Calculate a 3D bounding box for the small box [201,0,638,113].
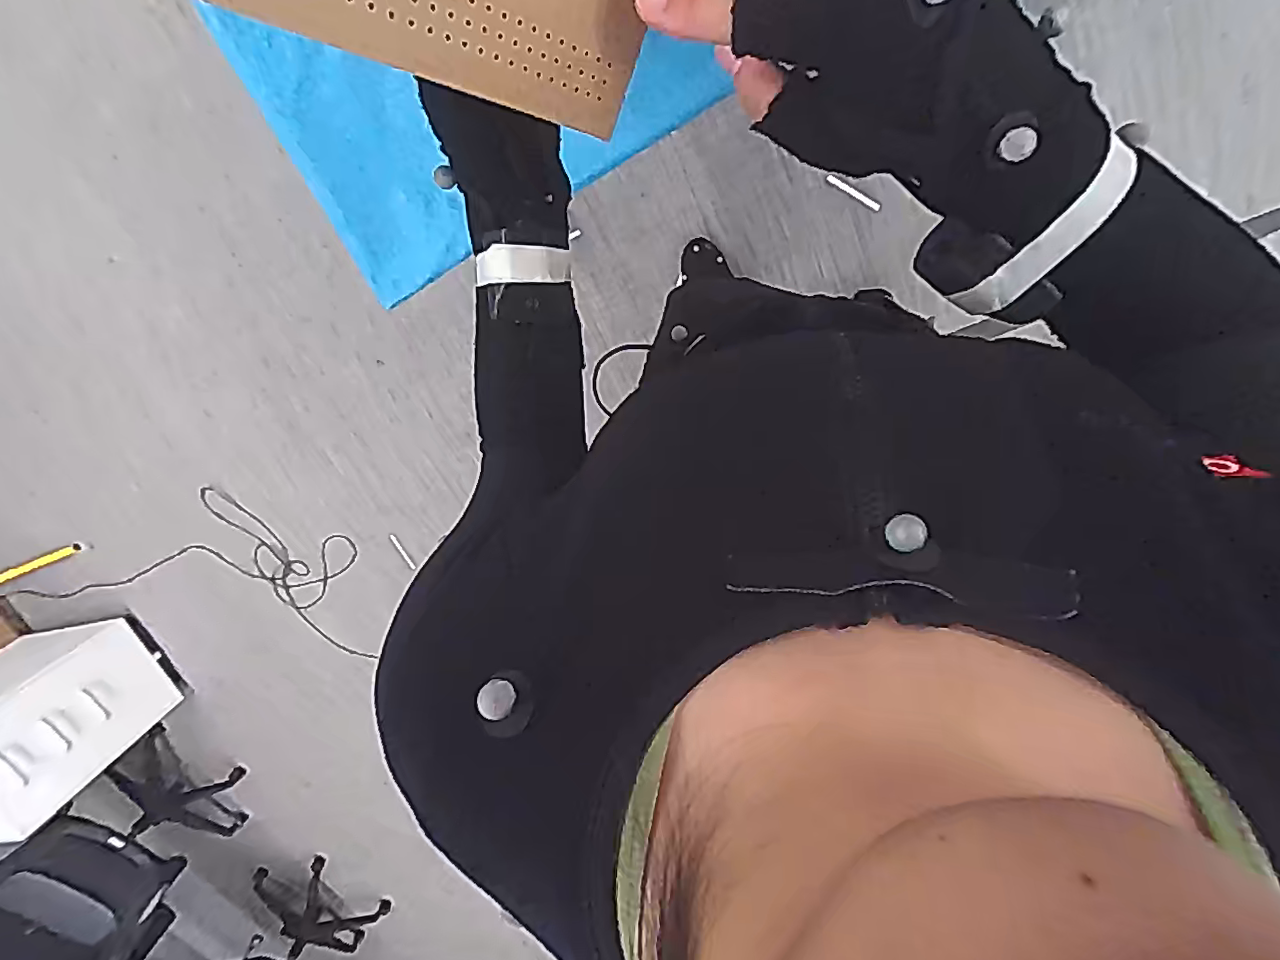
[{"bbox_3d":[-0.090,-0.259,0.183,0.168,0.179,0.176,49,131,25],"label":"small box"}]
